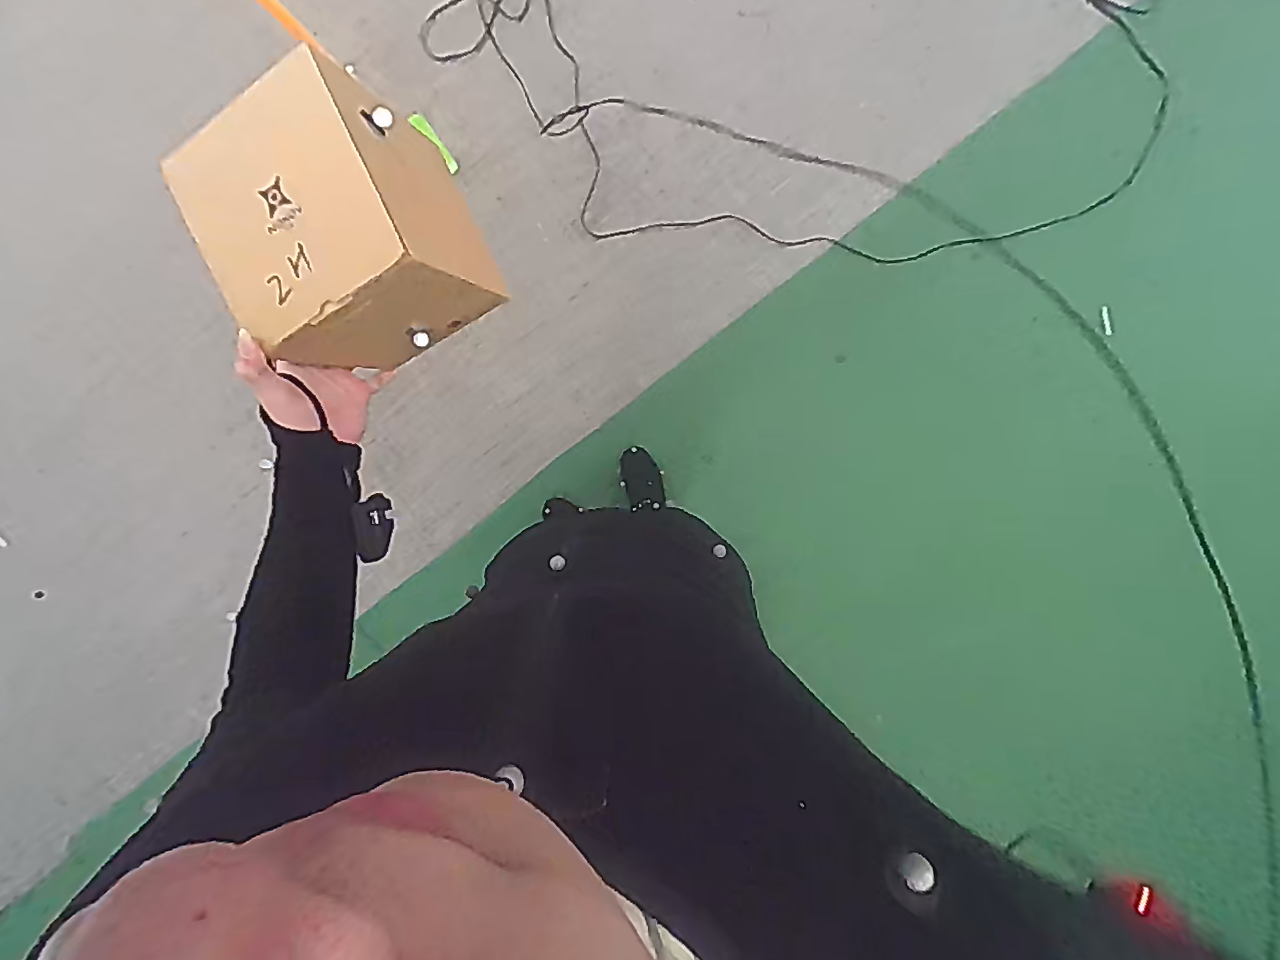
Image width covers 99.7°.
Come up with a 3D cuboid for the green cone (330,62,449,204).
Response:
[{"bbox_3d":[-0.671,-0.906,1.369,0.202,0.368,0.200,-37,94,1],"label":"green cone"}]
